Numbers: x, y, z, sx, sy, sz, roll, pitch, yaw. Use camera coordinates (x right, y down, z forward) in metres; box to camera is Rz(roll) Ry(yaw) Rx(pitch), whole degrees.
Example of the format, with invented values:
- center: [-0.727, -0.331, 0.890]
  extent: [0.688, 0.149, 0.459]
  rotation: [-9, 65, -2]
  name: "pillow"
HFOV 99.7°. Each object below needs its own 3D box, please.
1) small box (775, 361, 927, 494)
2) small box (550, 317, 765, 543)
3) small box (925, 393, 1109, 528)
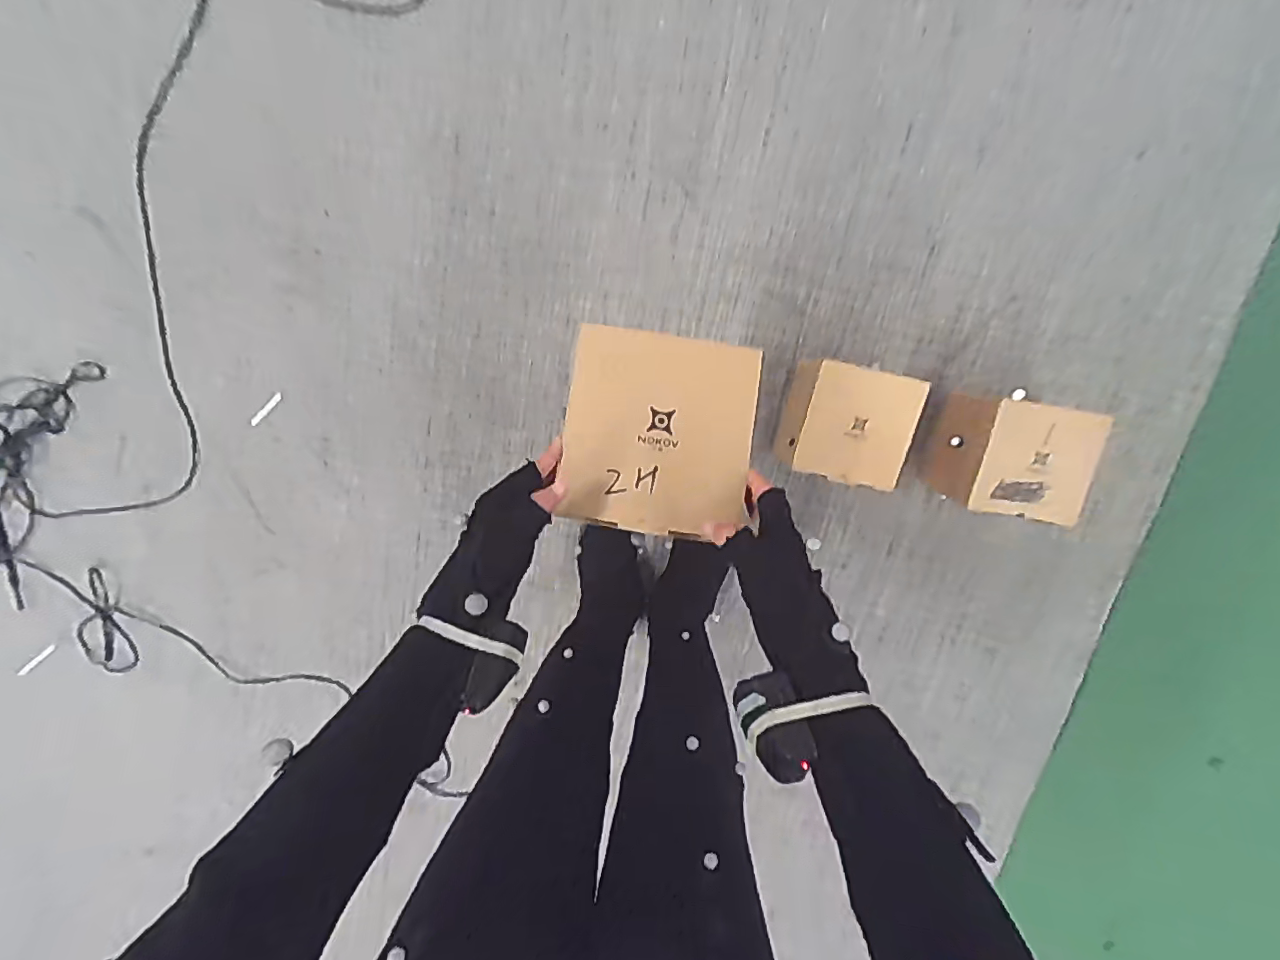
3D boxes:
- center: [0.334, -0.095, 0.898]
  extent: [0.168, 0.176, 0.179]
  rotation: [13, 104, 2]
  name: "small box"
- center: [0.013, -0.036, 0.543]
  extent: [0.168, 0.176, 0.179]
  rotation: [9, 84, -1]
  name: "small box"
- center: [0.598, -0.040, 0.887]
  extent: [0.168, 0.176, 0.179]
  rotation: [10, 103, 3]
  name: "small box"
